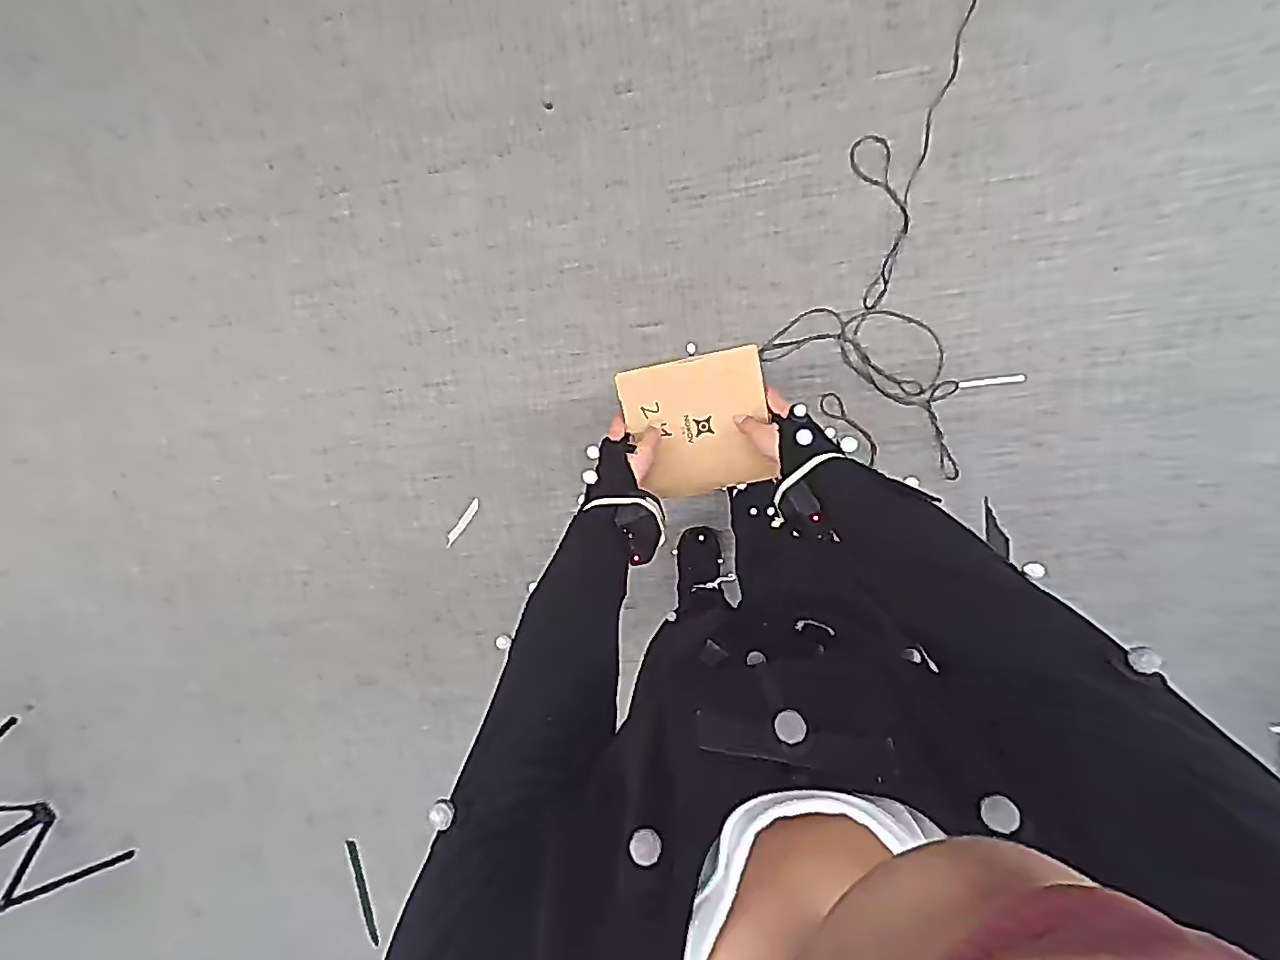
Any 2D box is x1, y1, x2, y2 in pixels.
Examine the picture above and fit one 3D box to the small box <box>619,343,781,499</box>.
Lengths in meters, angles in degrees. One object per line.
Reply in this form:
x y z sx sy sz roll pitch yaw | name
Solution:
0.081 -0.088 0.733 0.179 0.176 0.168 -10 104 9 | small box
